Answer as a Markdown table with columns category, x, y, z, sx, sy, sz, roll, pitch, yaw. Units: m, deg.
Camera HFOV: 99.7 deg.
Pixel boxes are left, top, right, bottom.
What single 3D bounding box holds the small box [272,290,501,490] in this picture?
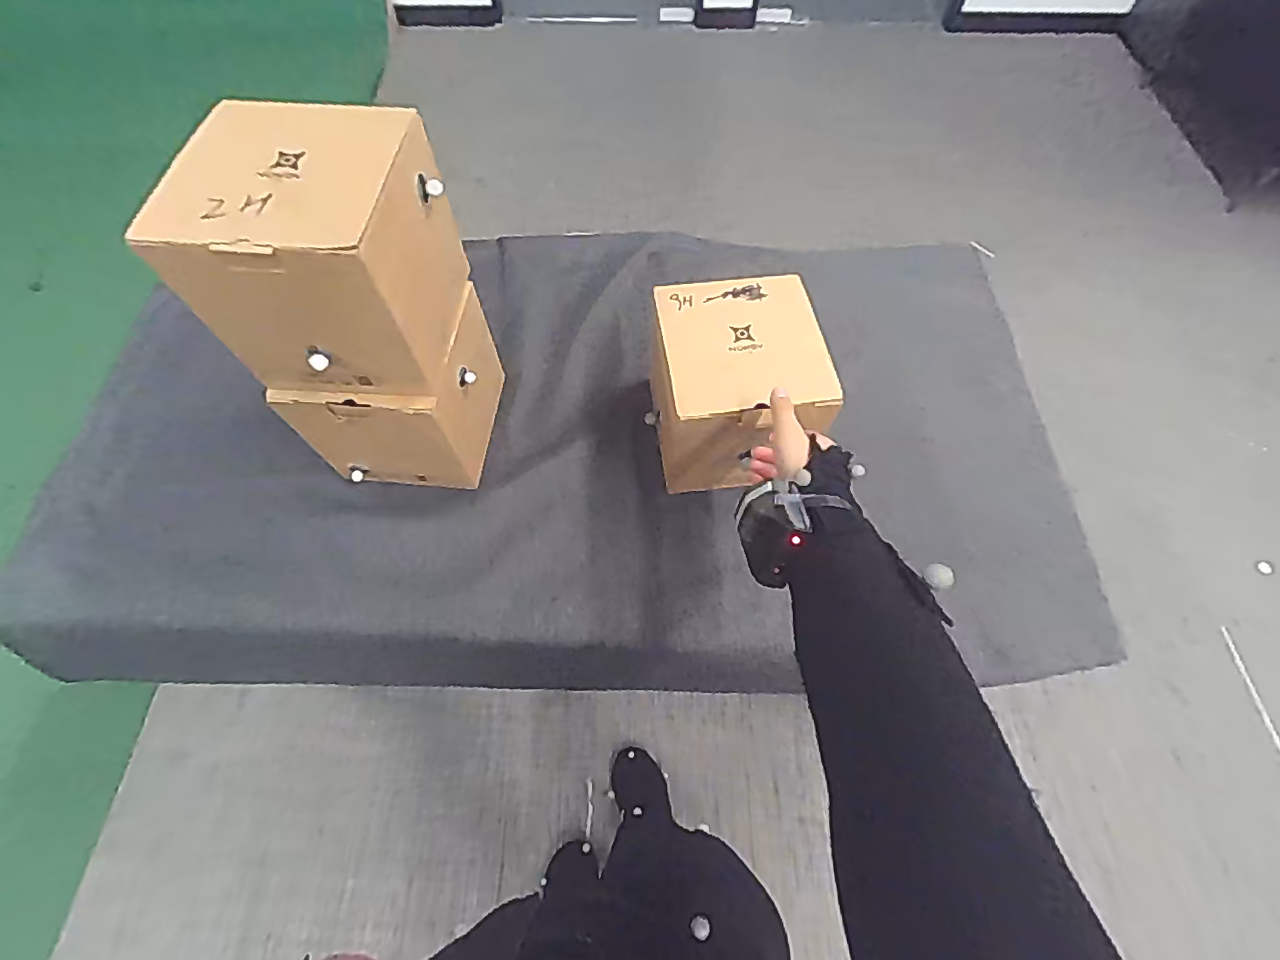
| category | x | y | z | sx | sy | sz | roll | pitch | yaw |
| --- | --- | --- | --- | --- | --- | --- | --- | --- | --- |
| small box | -0.271 | -0.102 | 0.630 | 0.168 | 0.176 | 0.179 | 5 | 61 | 1 |

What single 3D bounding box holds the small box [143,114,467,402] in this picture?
| category | x | y | z | sx | sy | sz | roll | pitch | yaw |
| --- | --- | --- | --- | --- | --- | --- | --- | --- | --- |
| small box | -0.270 | -0.194 | 0.493 | 0.168 | 0.176 | 0.179 | 3 | 62 | 1 |

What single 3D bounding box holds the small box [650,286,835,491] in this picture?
| category | x | y | z | sx | sy | sz | roll | pitch | yaw |
| --- | --- | --- | --- | --- | --- | --- | --- | --- | --- |
| small box | 0.102 | -0.096 | 0.632 | 0.168 | 0.176 | 0.179 | -6 | 63 | -4 |
